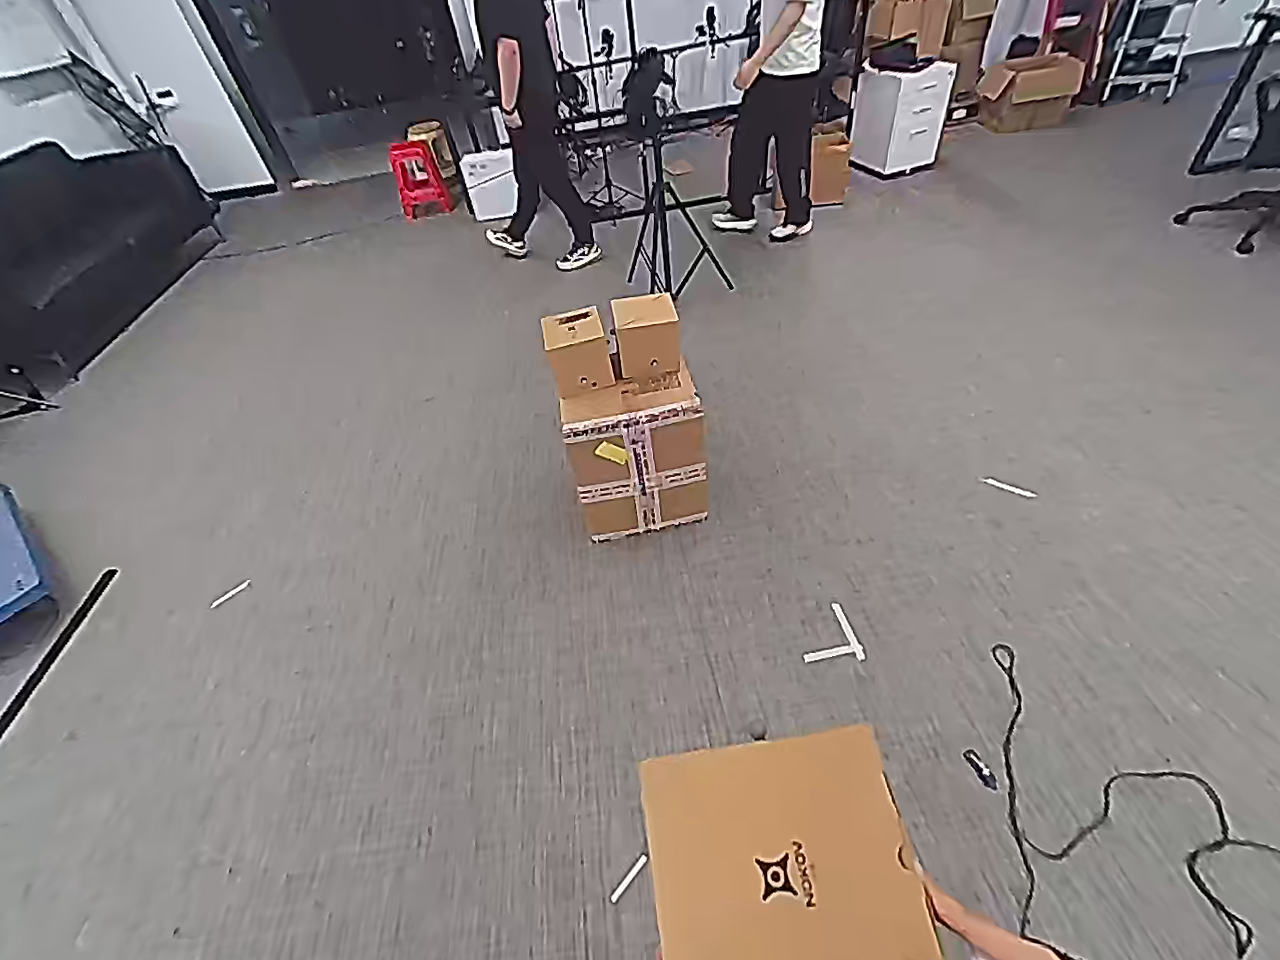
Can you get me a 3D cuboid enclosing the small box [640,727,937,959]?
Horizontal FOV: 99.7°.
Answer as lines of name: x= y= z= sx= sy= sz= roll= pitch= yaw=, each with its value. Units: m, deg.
small box: x=0.105 y=0.310 z=0.439 sx=0.179 sy=0.176 sz=0.168 roll=-10 pitch=59 yaw=2
